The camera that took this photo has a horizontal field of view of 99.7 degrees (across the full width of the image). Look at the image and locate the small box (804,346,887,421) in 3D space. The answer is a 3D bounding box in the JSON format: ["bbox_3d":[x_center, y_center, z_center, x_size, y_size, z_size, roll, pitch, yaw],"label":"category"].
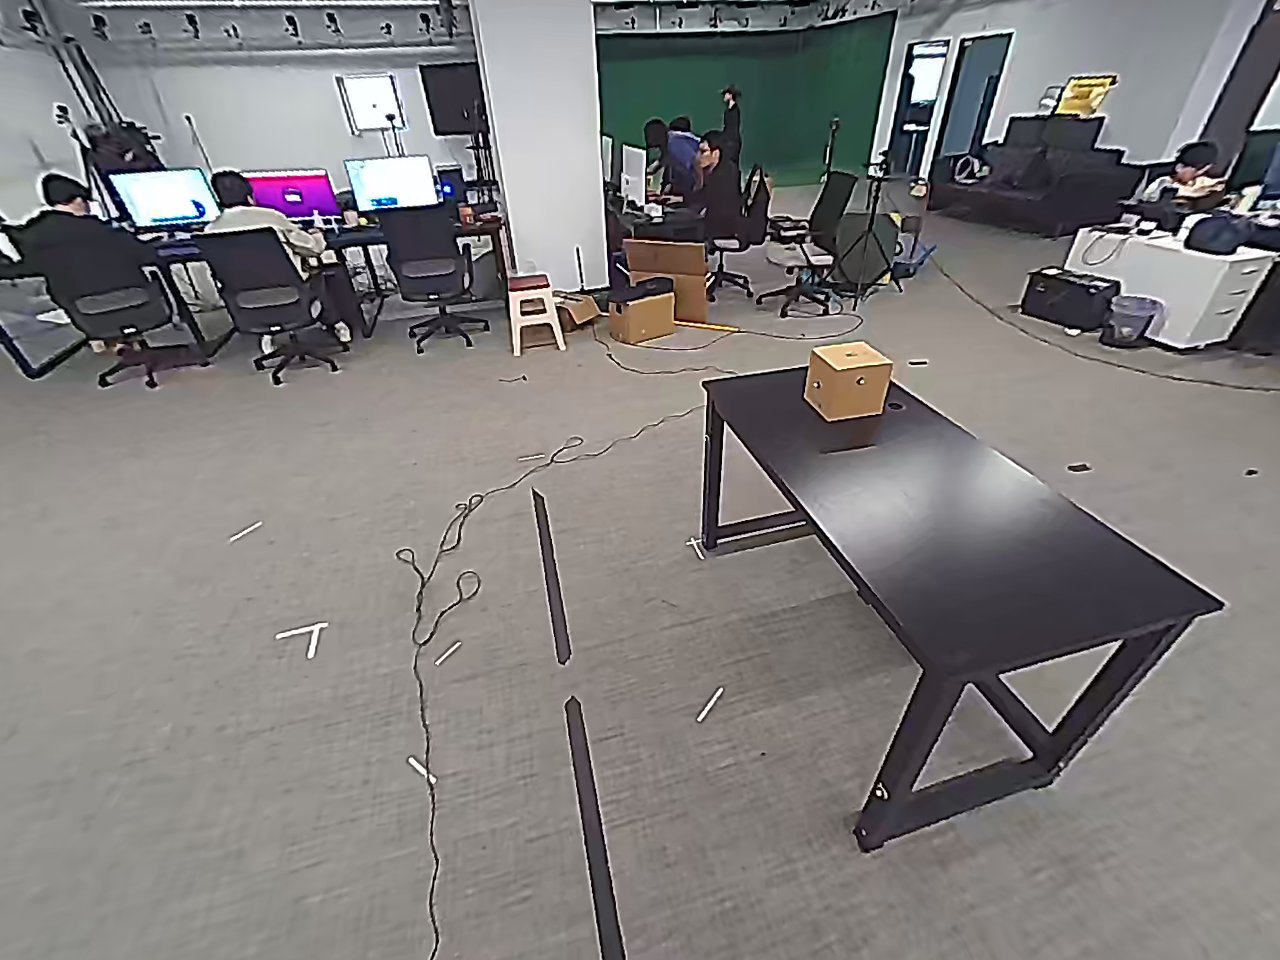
[{"bbox_3d":[0.612,-0.290,1.636,0.179,0.176,0.168,-9,36,-8],"label":"small box"}]
